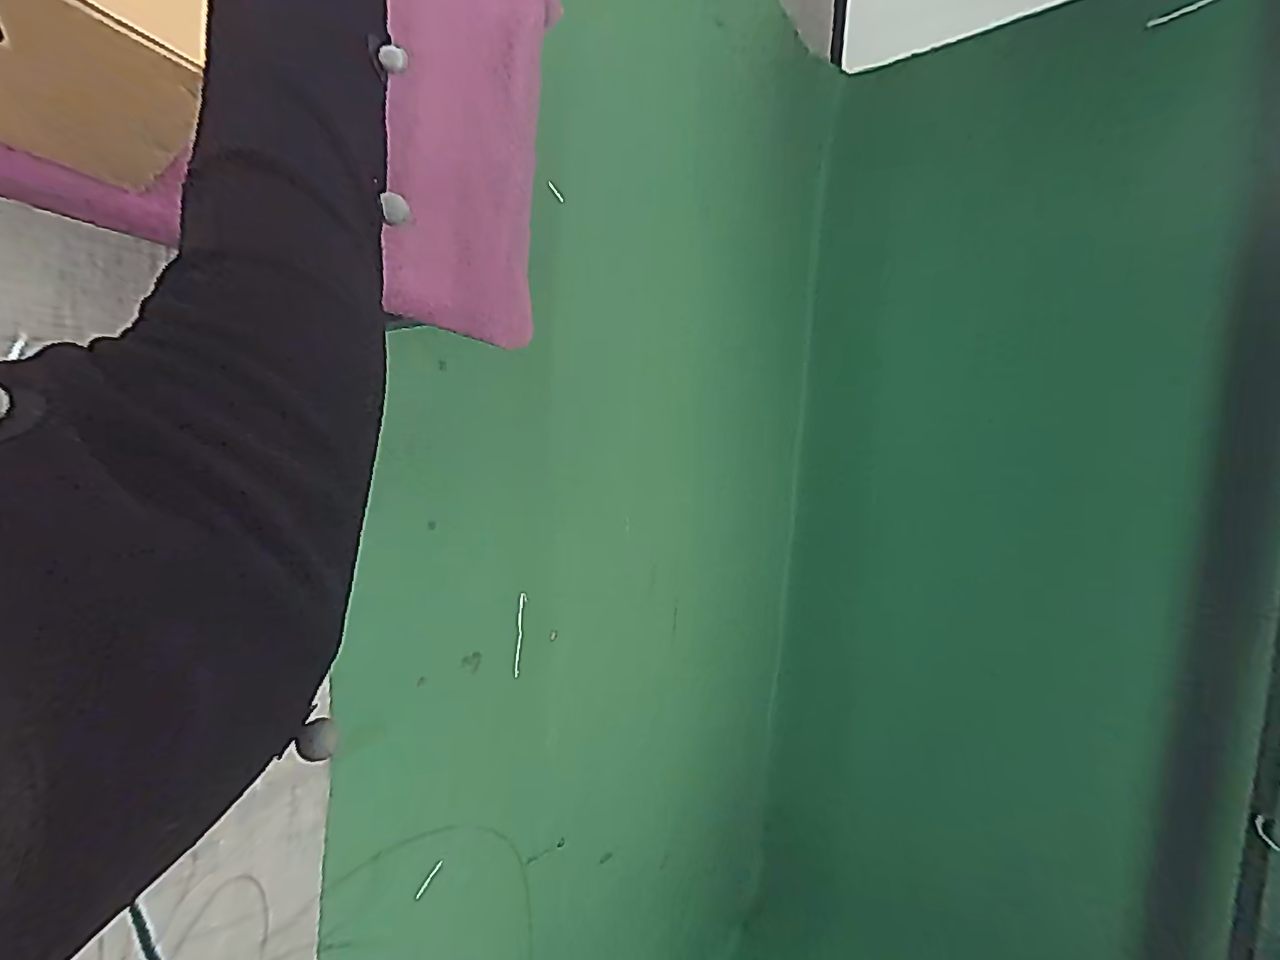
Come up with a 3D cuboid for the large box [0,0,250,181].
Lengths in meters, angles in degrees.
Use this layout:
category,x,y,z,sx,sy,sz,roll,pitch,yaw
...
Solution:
category,x,y,z,sx,sy,sz,roll,pitch,yaw
large box,-0.488,-0.507,0.369,0.320,0.320,0.408,7,90,-53
